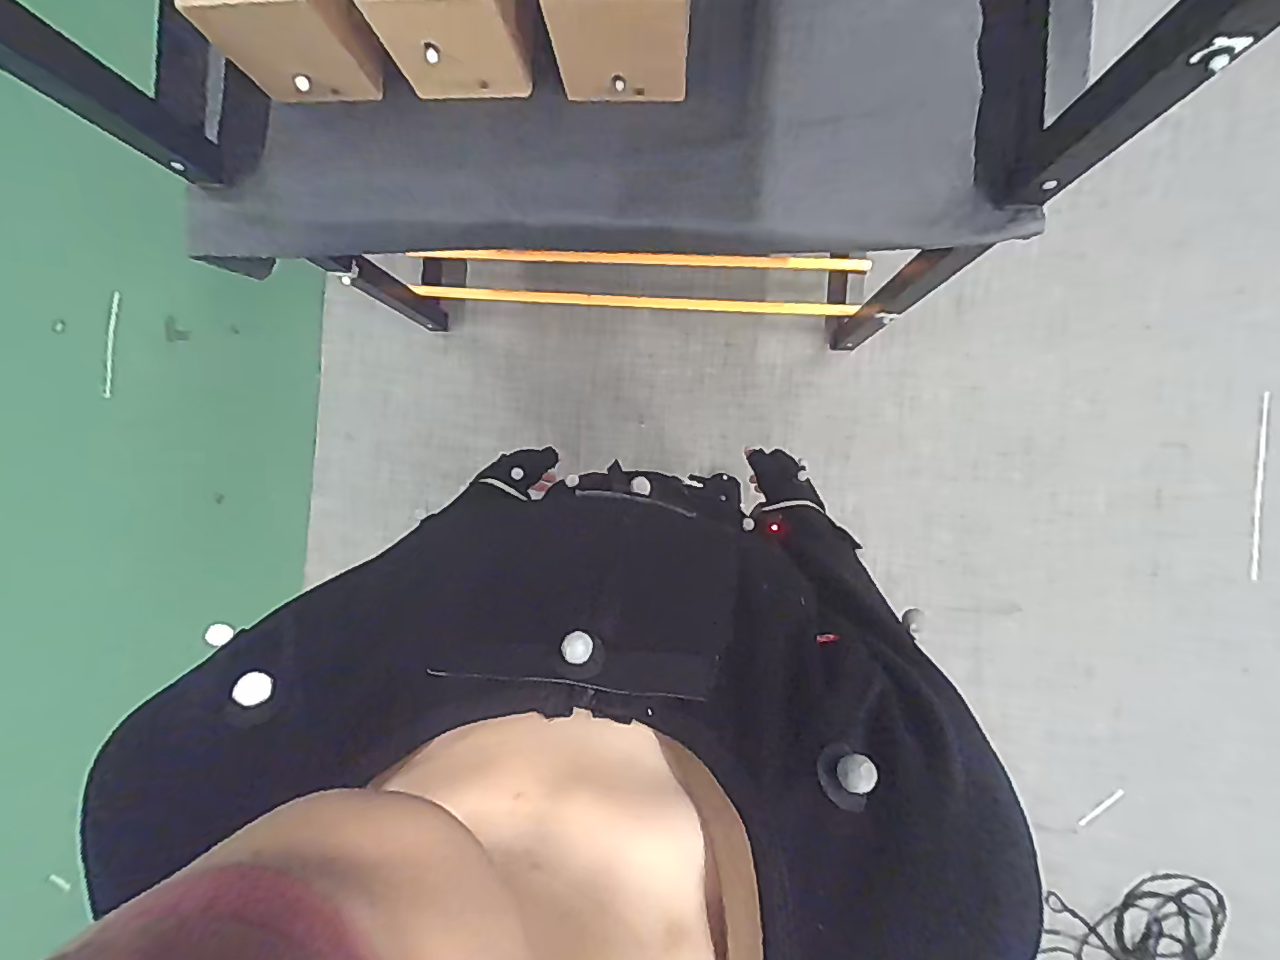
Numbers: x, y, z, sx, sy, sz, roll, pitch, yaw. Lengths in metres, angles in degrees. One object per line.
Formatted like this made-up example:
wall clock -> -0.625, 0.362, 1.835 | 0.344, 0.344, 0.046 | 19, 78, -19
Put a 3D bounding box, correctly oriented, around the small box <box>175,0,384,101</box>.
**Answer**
small box -> -0.457, -0.639, 0.706 | 0.168, 0.176, 0.179 | 1, 90, 4
